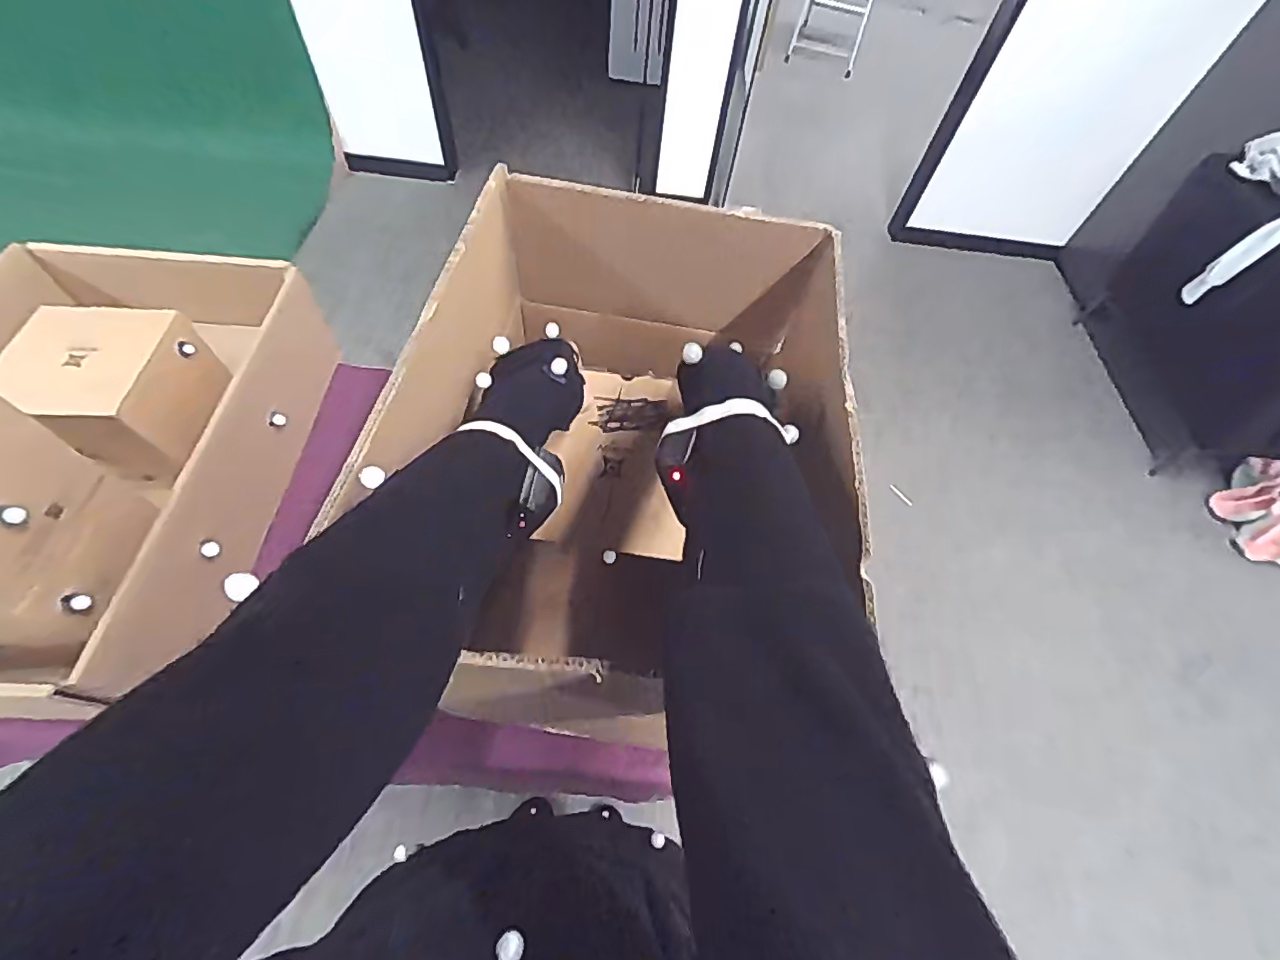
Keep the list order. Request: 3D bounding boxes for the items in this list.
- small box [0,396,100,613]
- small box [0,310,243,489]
[{"bbox_3d":[-0.639,0.013,0.450,0.179,0.176,0.168,4,57,-3],"label":"small box"},{"bbox_3d":[-0.676,-0.100,0.717,0.168,0.176,0.179,1,58,-4],"label":"small box"}]
